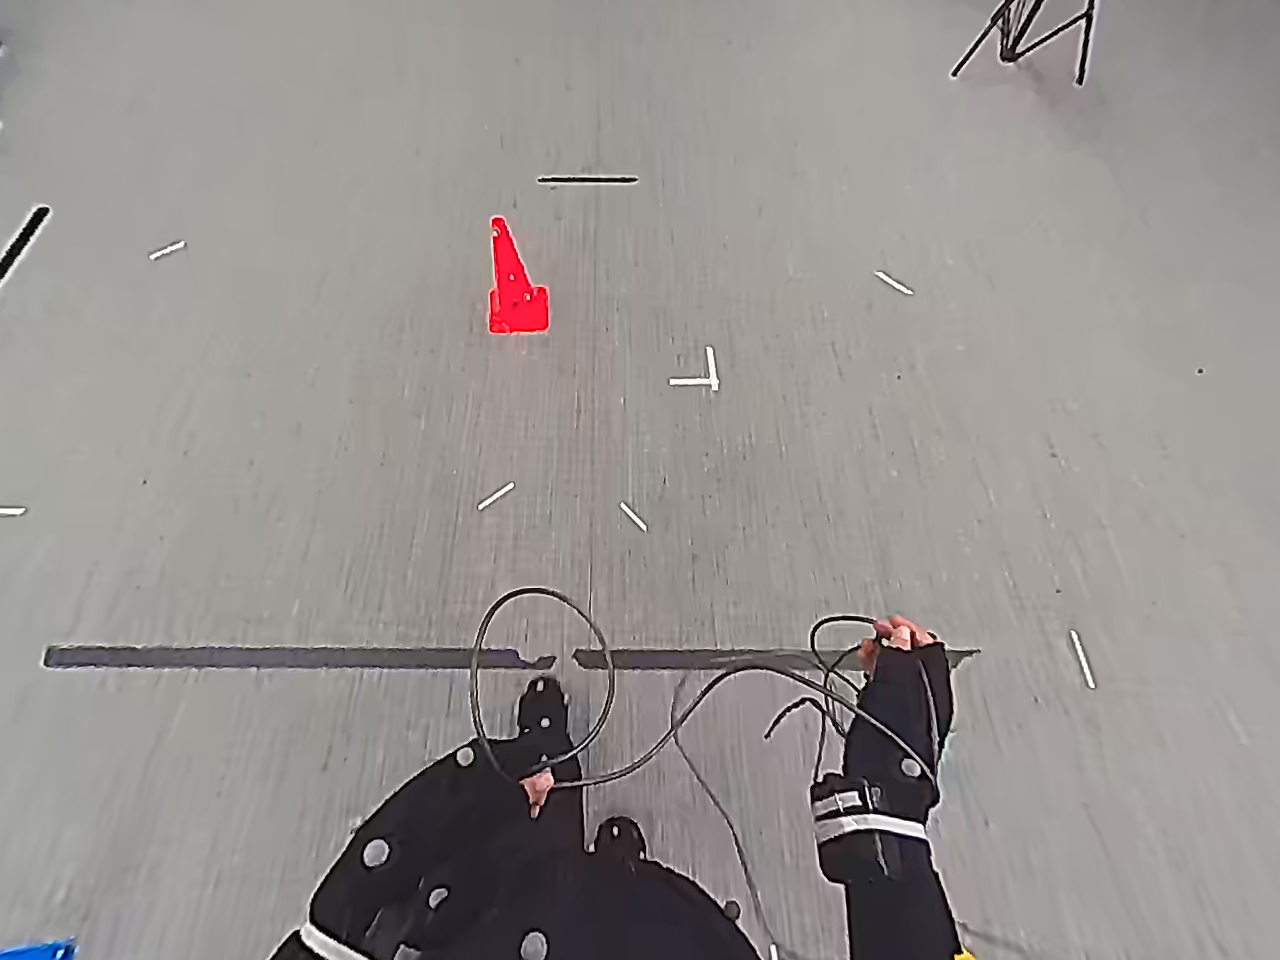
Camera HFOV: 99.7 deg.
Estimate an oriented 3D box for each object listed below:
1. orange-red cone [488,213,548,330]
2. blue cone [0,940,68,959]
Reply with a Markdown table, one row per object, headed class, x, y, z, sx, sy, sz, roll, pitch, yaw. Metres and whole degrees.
| class | x | y | z | sx | sy | sz | roll | pitch | yaw |
| --- | --- | --- | --- | --- | --- | --- | --- | --- | --- |
| orange-red cone | -0.414 | -0.662 | 1.680 | 0.199 | 0.360 | 0.198 | -5 | 64 | -2 |
| blue cone | -1.215 | 0.937 | 0.885 | 0.193 | 0.380 | 0.192 | -5 | 64 | -3 |
